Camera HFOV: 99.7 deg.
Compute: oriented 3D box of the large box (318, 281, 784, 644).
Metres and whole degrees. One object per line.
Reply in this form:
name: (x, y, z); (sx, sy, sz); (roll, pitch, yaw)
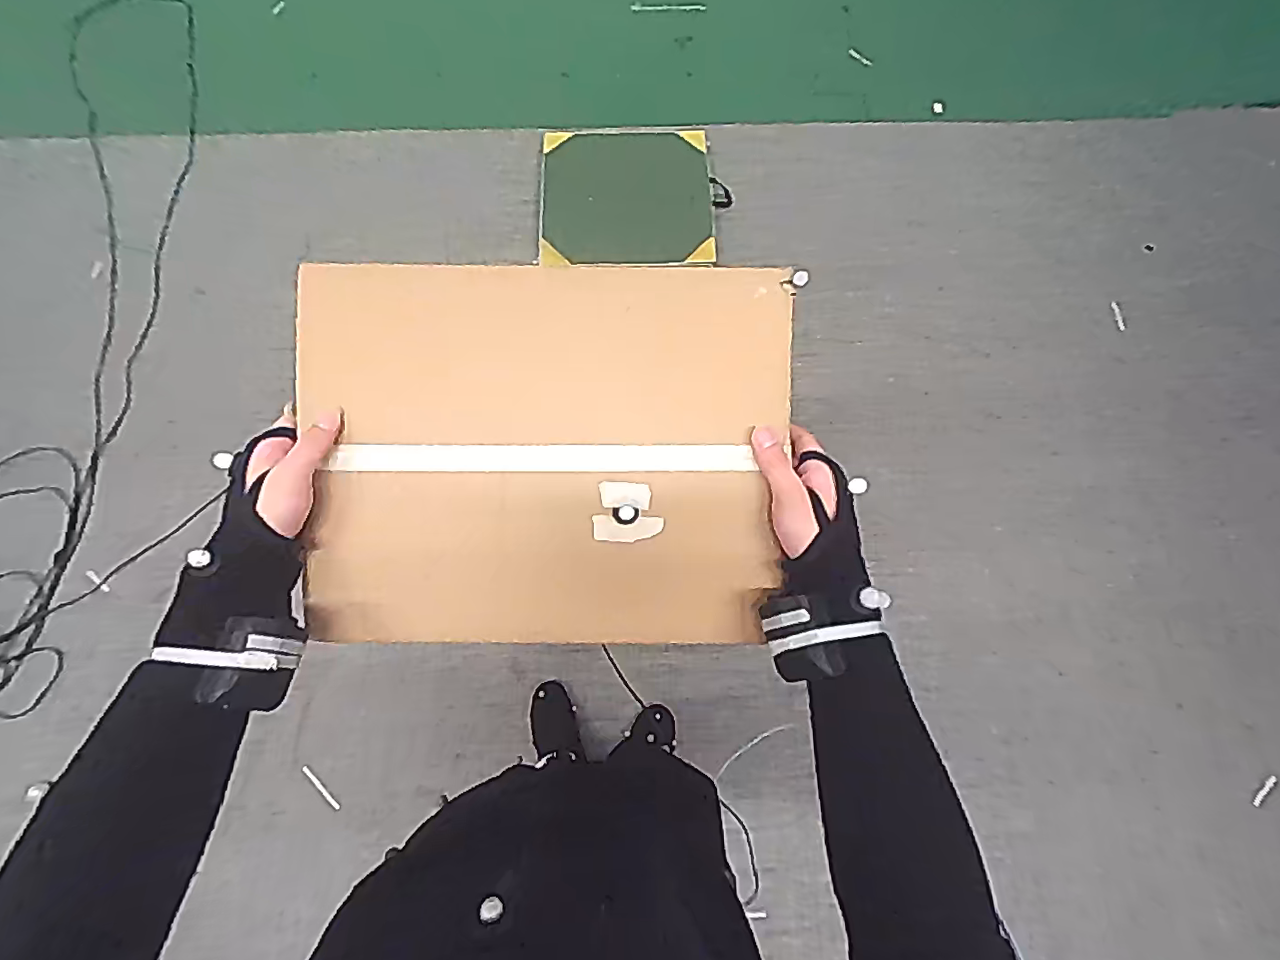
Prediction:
large box: (-0.079, -0.018, 0.613); (0.408, 0.320, 0.320); (0, 92, -1)
